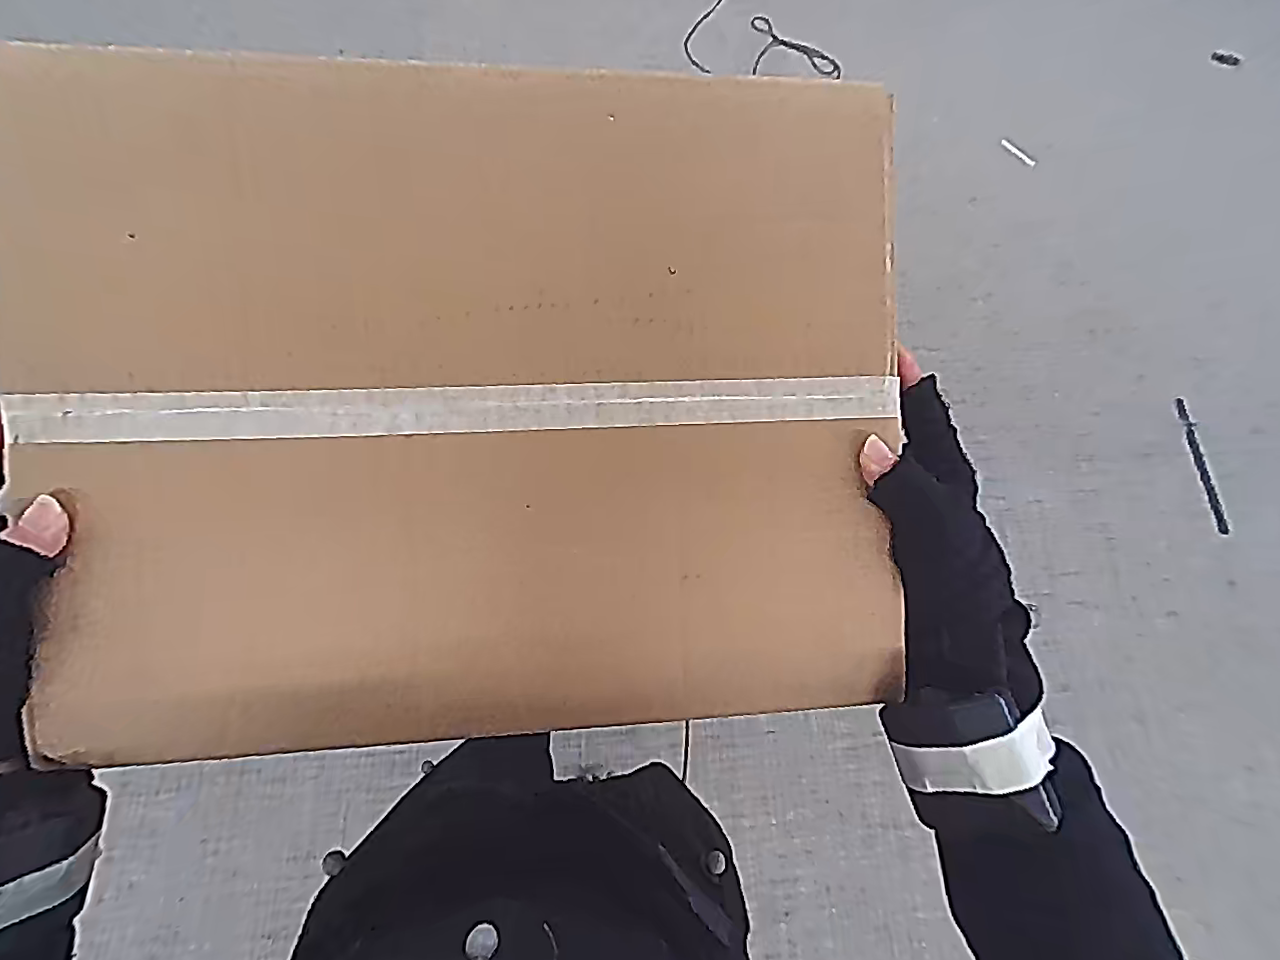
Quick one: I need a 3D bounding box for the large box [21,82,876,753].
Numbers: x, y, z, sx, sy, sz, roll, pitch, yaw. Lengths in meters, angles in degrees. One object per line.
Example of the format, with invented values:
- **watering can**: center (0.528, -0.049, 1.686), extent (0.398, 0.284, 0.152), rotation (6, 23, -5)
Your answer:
- **large box**: center (-0.087, -0.039, 0.414), extent (0.408, 0.320, 0.320), rotation (-2, 92, -6)
